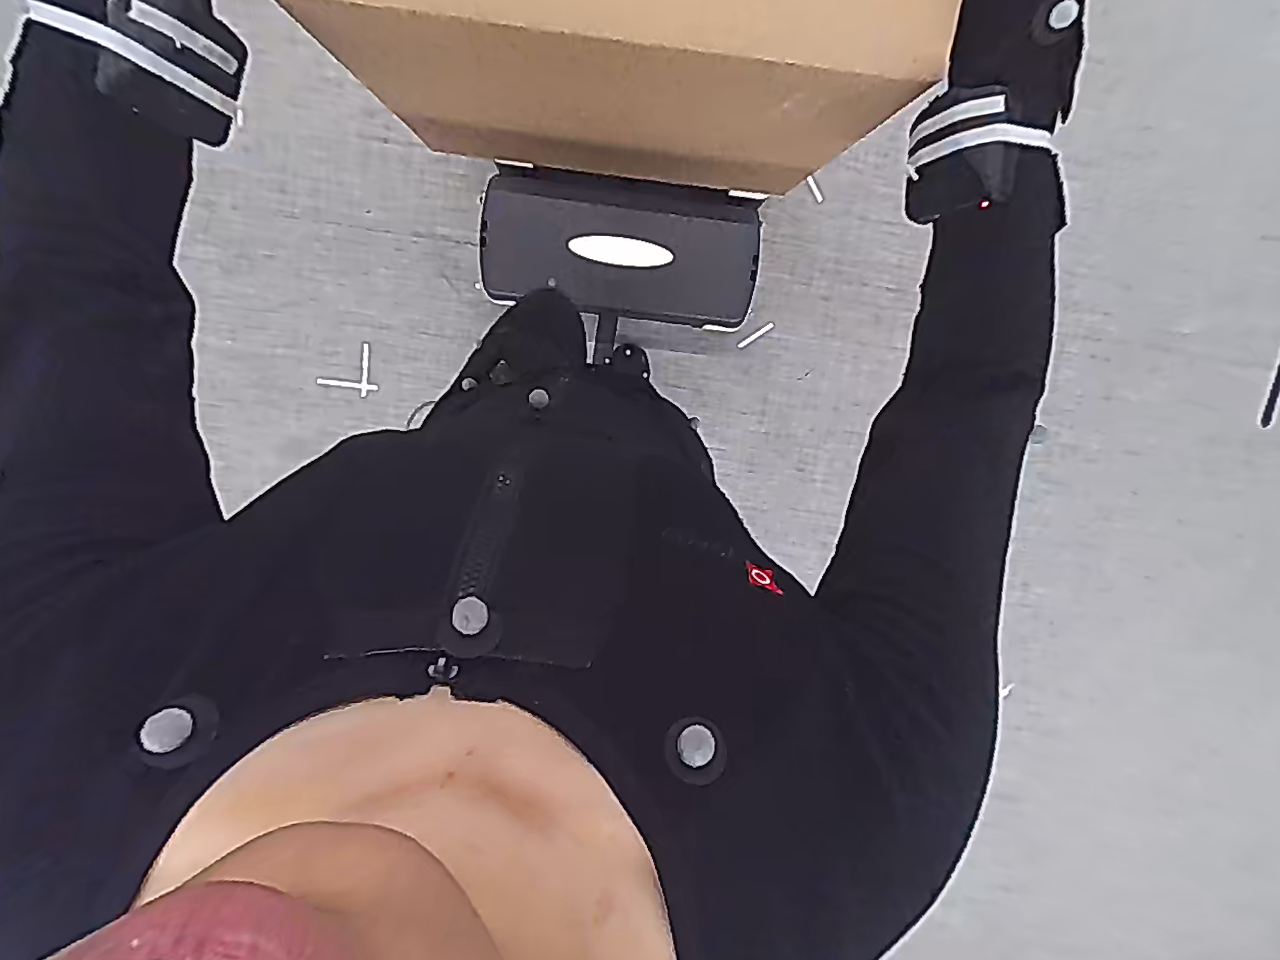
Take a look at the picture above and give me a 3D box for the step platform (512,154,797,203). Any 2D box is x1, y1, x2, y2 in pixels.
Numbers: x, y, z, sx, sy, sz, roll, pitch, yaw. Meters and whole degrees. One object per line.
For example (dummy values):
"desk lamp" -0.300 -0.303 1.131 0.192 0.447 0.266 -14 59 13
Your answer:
"step platform" 0.038 -0.840 1.227 0.684 0.204 0.286 5 101 -4

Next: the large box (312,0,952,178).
"large box" -0.007 -0.461 0.428 0.408 0.320 0.320 4 107 -5
